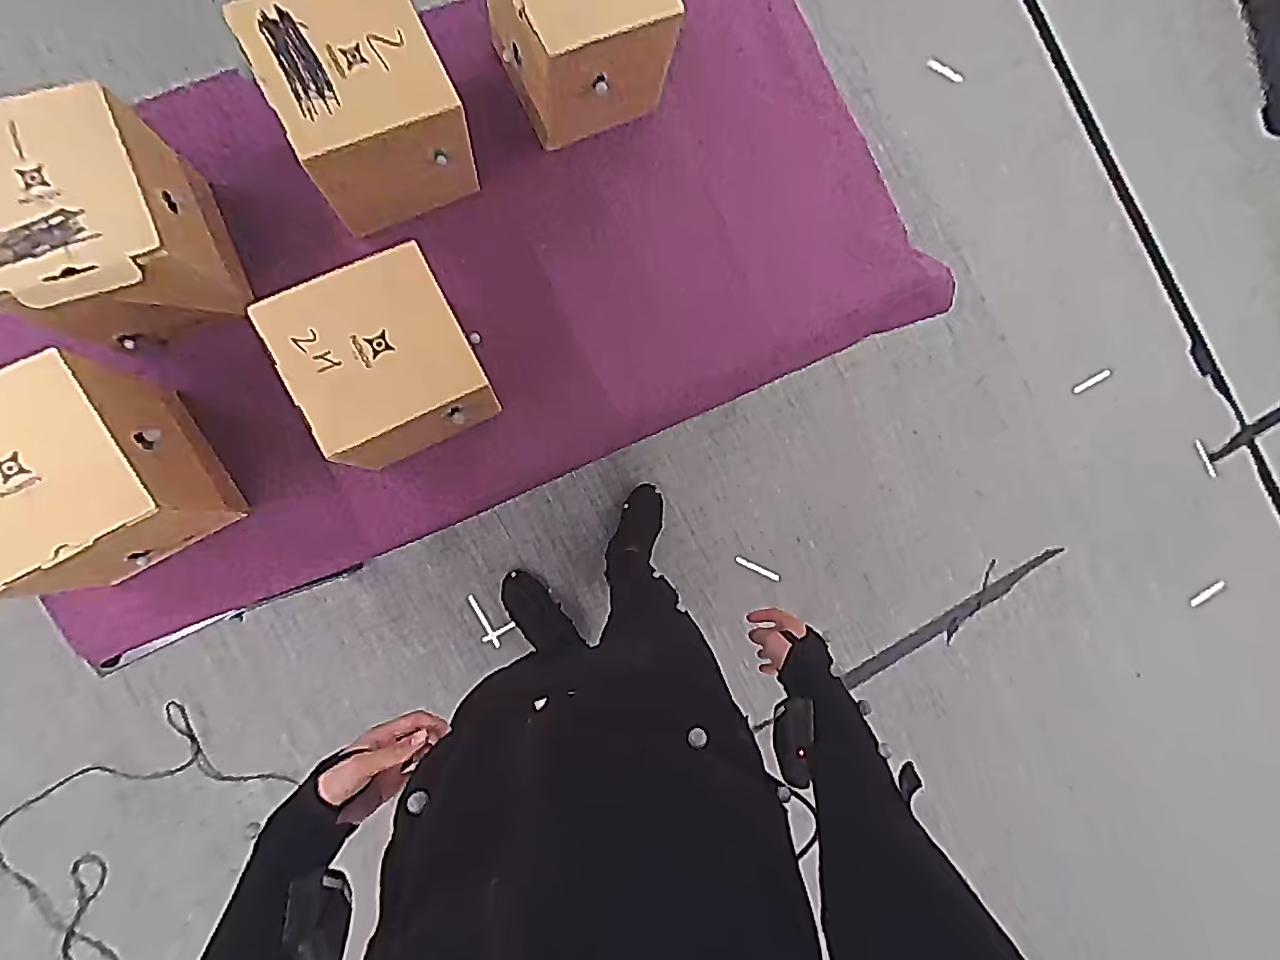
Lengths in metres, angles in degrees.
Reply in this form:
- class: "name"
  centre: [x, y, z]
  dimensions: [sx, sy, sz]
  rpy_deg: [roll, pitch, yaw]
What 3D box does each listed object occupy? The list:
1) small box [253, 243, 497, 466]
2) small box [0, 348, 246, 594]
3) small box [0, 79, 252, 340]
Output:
- class: "small box"
  centre: [-0.274, -0.127, 0.611]
  dimensions: [0.179, 0.176, 0.168]
  rpy_deg: [-27, 92, -9]
- class: "small box"
  centre: [-0.566, -0.002, 0.556]
  dimensions: [0.168, 0.176, 0.179]
  rpy_deg: [-31, 93, -11]
- class: "small box"
  centre: [-0.559, -0.263, 0.571]
  dimensions: [0.168, 0.176, 0.179]
  rpy_deg: [-21, 91, -10]
